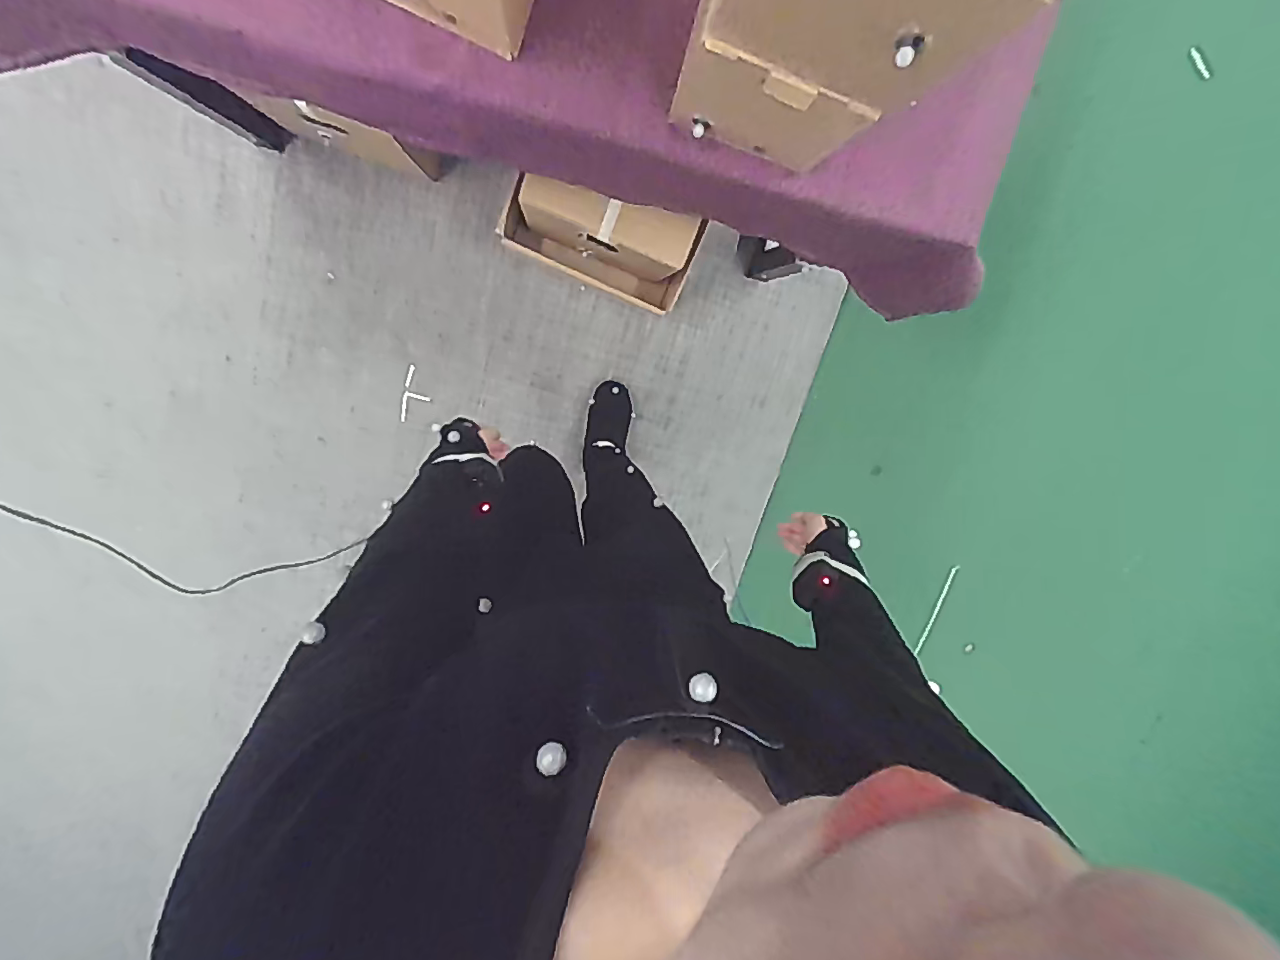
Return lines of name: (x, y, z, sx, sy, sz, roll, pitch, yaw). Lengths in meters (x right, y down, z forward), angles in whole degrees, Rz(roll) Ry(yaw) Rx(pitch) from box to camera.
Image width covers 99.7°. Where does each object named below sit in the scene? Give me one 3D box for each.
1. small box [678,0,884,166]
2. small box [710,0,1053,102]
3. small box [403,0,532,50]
small box: (0.142, -0.428, 0.505, 0.168, 0.176, 0.179, 15, 102, -11)
small box: (0.167, -0.385, 0.349, 0.179, 0.176, 0.168, 16, 102, -11)
small box: (-0.161, -0.516, 0.443, 0.168, 0.176, 0.179, 19, 104, -12)
